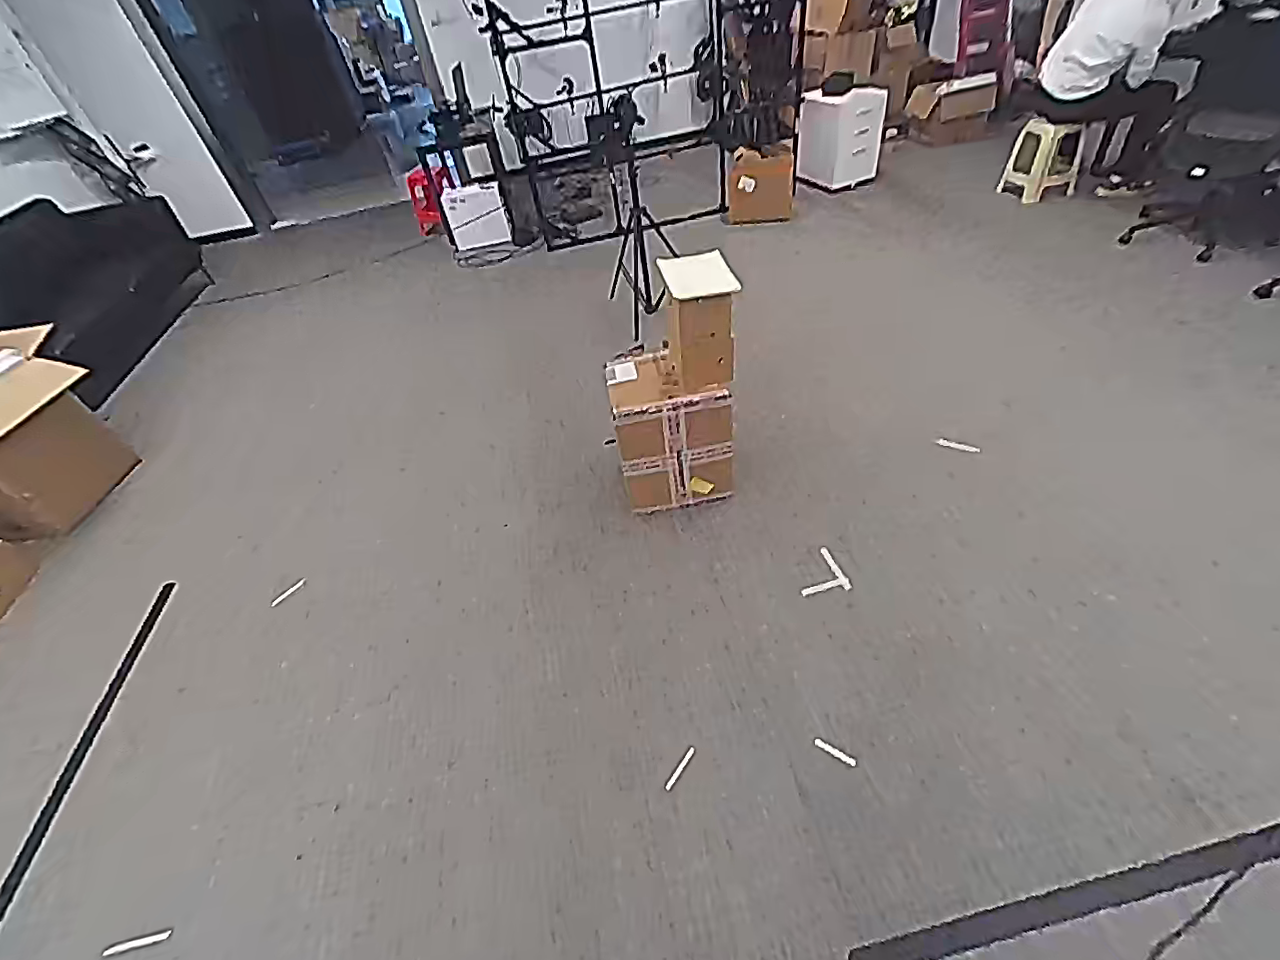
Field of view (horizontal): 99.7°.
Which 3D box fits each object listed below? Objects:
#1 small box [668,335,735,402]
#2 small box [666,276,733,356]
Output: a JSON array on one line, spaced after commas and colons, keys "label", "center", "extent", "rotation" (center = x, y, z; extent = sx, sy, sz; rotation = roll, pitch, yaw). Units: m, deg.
[{"label": "small box", "center": [0.201, -0.383, 1.775], "extent": [0.179, 0.176, 0.168], "rotation": [-14, 44, -6]}, {"label": "small box", "center": [0.180, -0.505, 1.668], "extent": [0.168, 0.176, 0.179], "rotation": [-12, 44, -4]}]
